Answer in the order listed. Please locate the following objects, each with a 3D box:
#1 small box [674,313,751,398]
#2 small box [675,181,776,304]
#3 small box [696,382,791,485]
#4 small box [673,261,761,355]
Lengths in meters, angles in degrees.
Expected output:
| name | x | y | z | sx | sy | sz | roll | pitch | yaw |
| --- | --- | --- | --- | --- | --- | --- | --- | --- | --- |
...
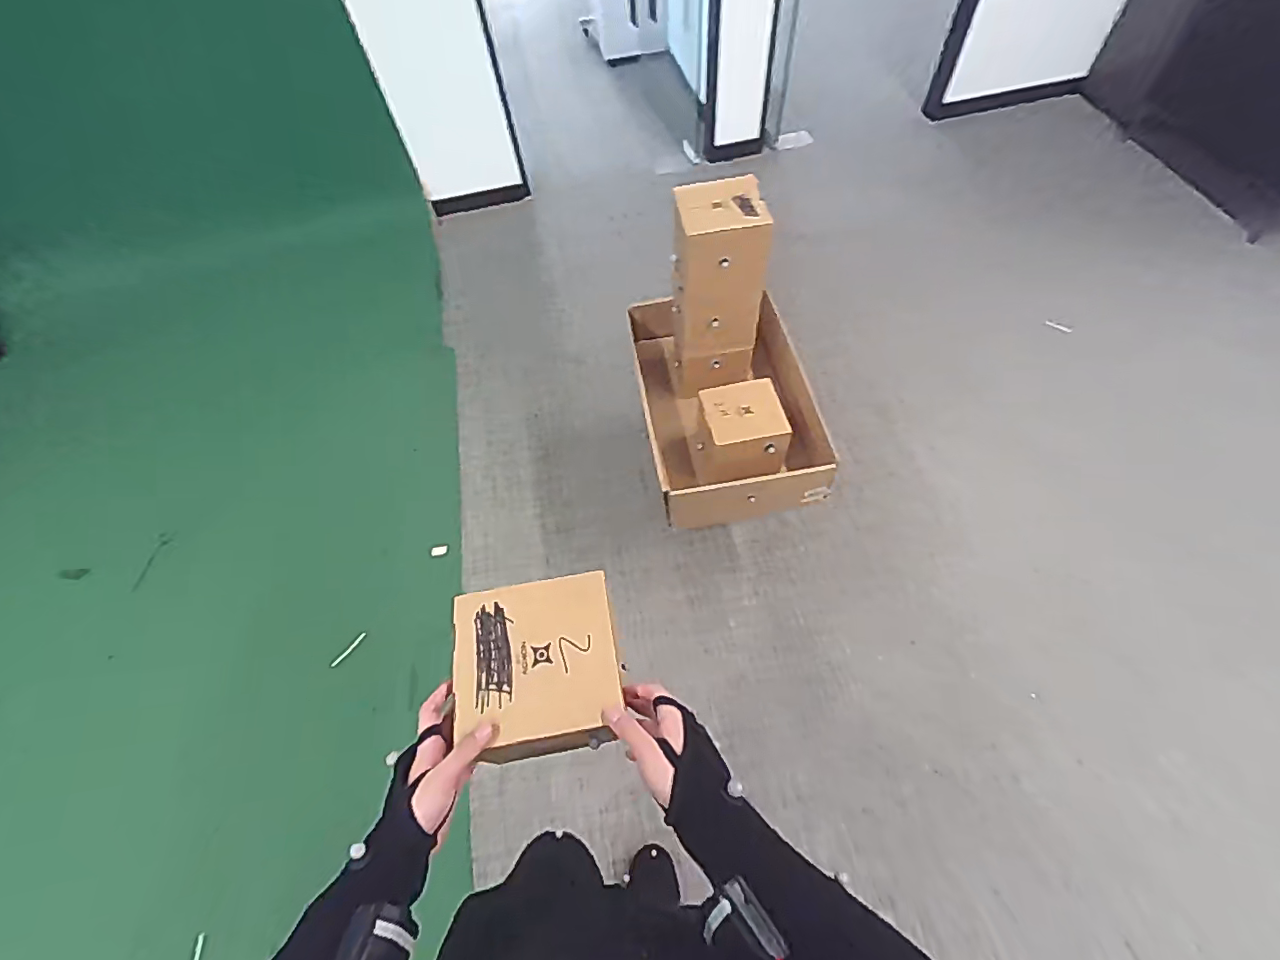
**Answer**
| name | x | y | z | sx | sy | sz | roll | pitch | yaw |
| --- | --- | --- | --- | --- | --- | --- | --- | --- | --- |
| small box | 0.186 | -0.333 | 1.438 | 0.179 | 0.176 | 0.168 | -7 | 60 | -2 |
| small box | 0.173 | -0.503 | 1.157 | 0.179 | 0.176 | 0.168 | -9 | 60 | -1 |
| small box | 0.239 | -0.107 | 1.293 | 0.179 | 0.176 | 0.168 | -10 | 58 | -3 |
| small box | 0.180 | -0.419 | 1.299 | 0.179 | 0.176 | 0.168 | -8 | 60 | -1 |
